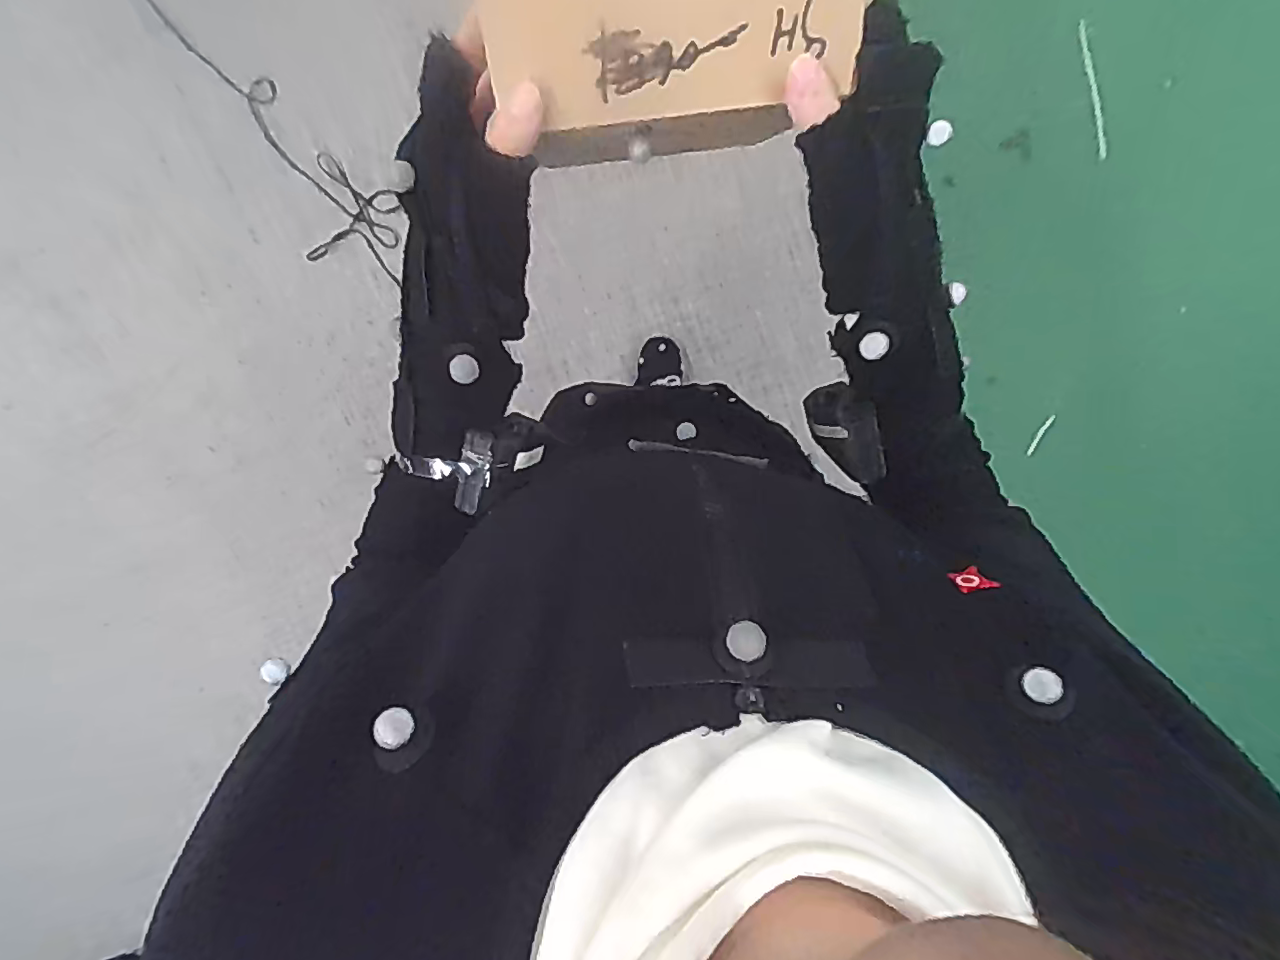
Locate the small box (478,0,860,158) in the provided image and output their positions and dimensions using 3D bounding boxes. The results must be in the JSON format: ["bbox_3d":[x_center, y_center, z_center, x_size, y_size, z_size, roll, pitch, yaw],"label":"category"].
[{"bbox_3d":[0.003,-0.286,0.280,0.168,0.176,0.179,-7,115,0],"label":"small box"}]
